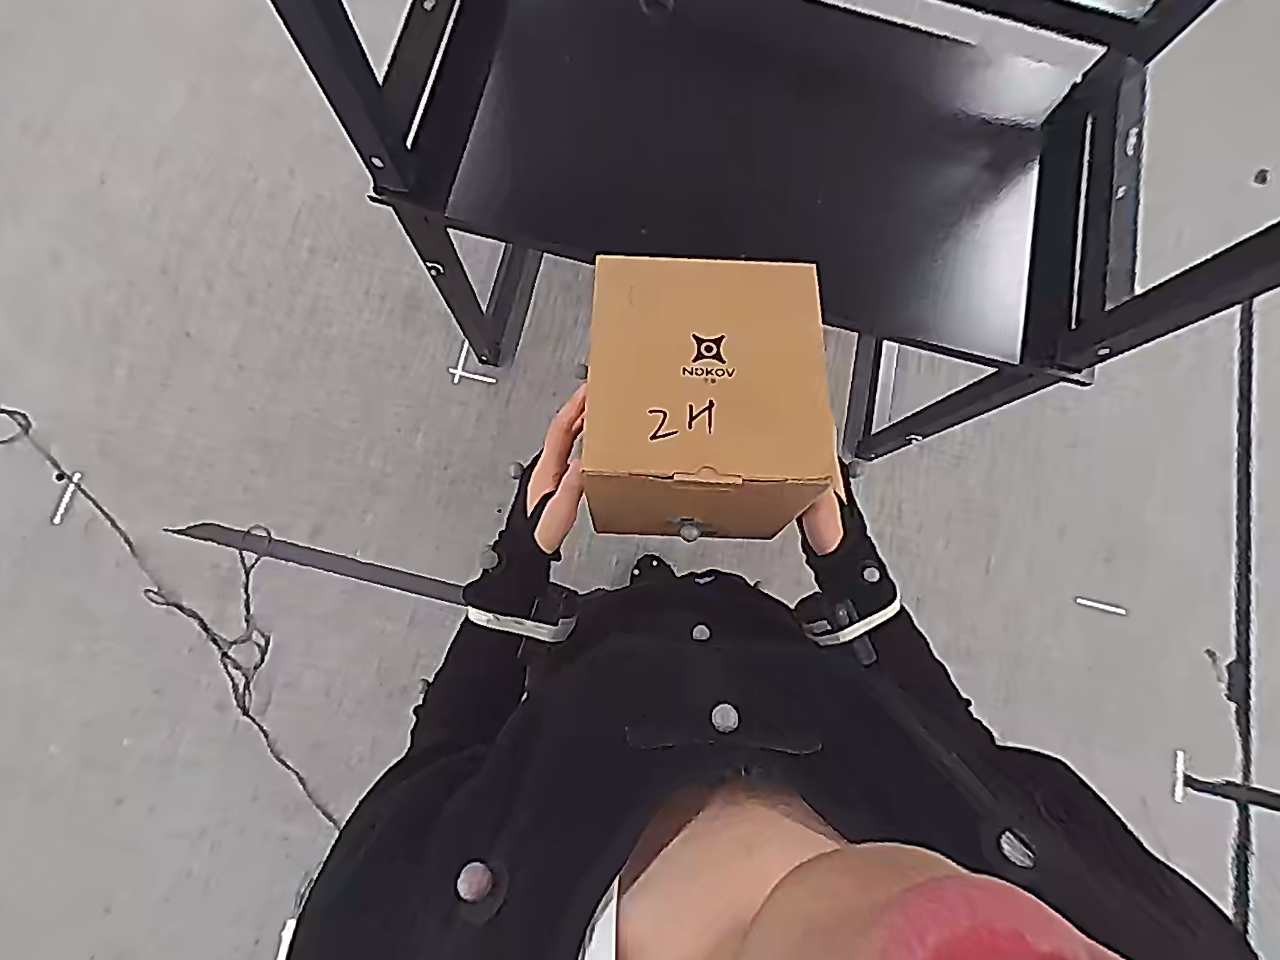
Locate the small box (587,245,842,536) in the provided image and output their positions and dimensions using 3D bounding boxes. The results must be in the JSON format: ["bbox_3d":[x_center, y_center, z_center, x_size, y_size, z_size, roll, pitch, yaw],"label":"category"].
[{"bbox_3d":[0.049,-0.061,0.443,0.168,0.176,0.179,2,72,0],"label":"small box"}]
